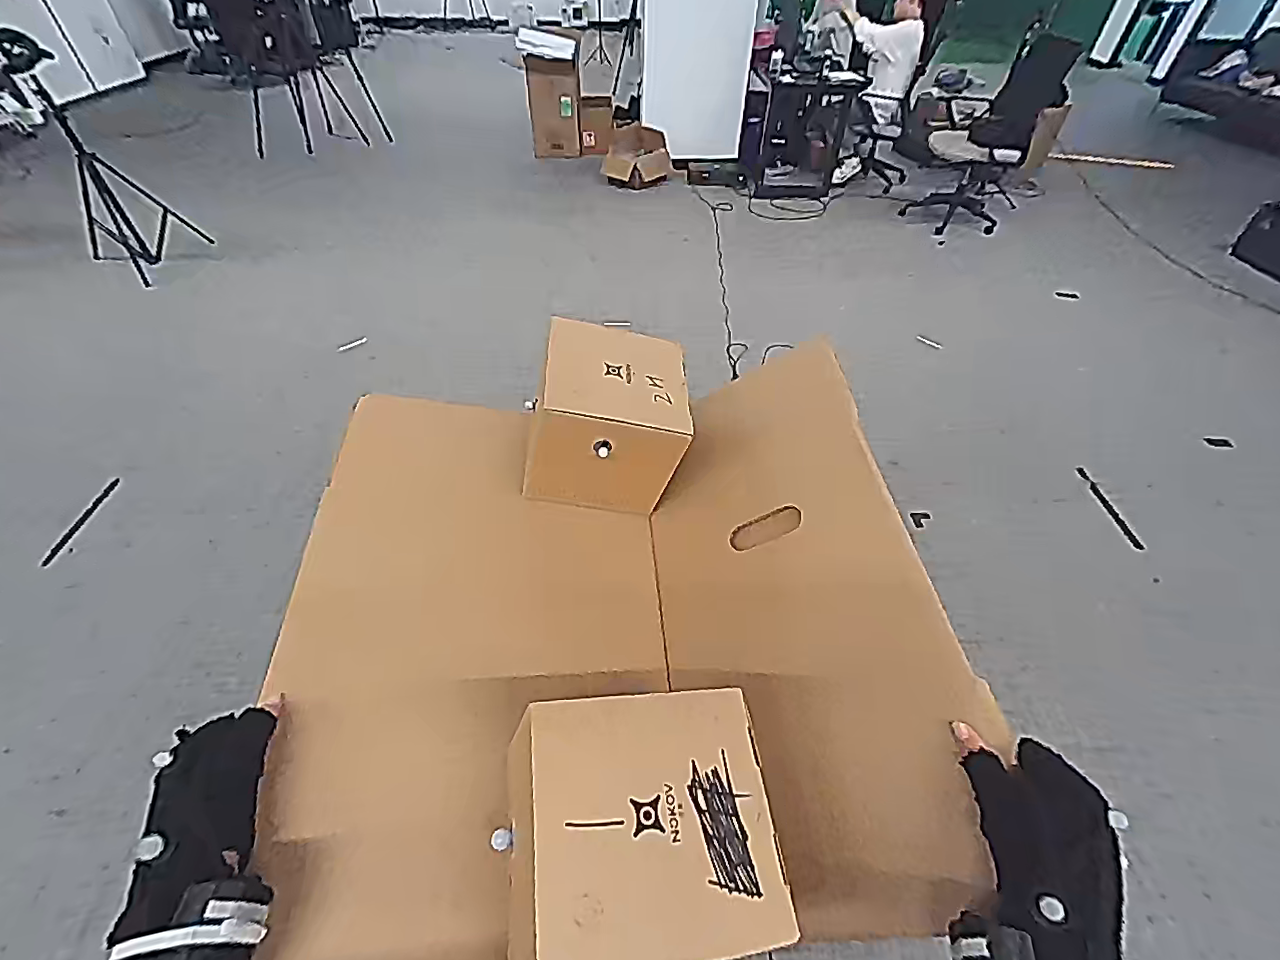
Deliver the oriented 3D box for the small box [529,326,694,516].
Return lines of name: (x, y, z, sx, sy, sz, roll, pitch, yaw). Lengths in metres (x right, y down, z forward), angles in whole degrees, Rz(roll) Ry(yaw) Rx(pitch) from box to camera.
small box: (-0.045, -0.070, 0.710, 0.179, 0.176, 0.168, 10, 51, -15)
